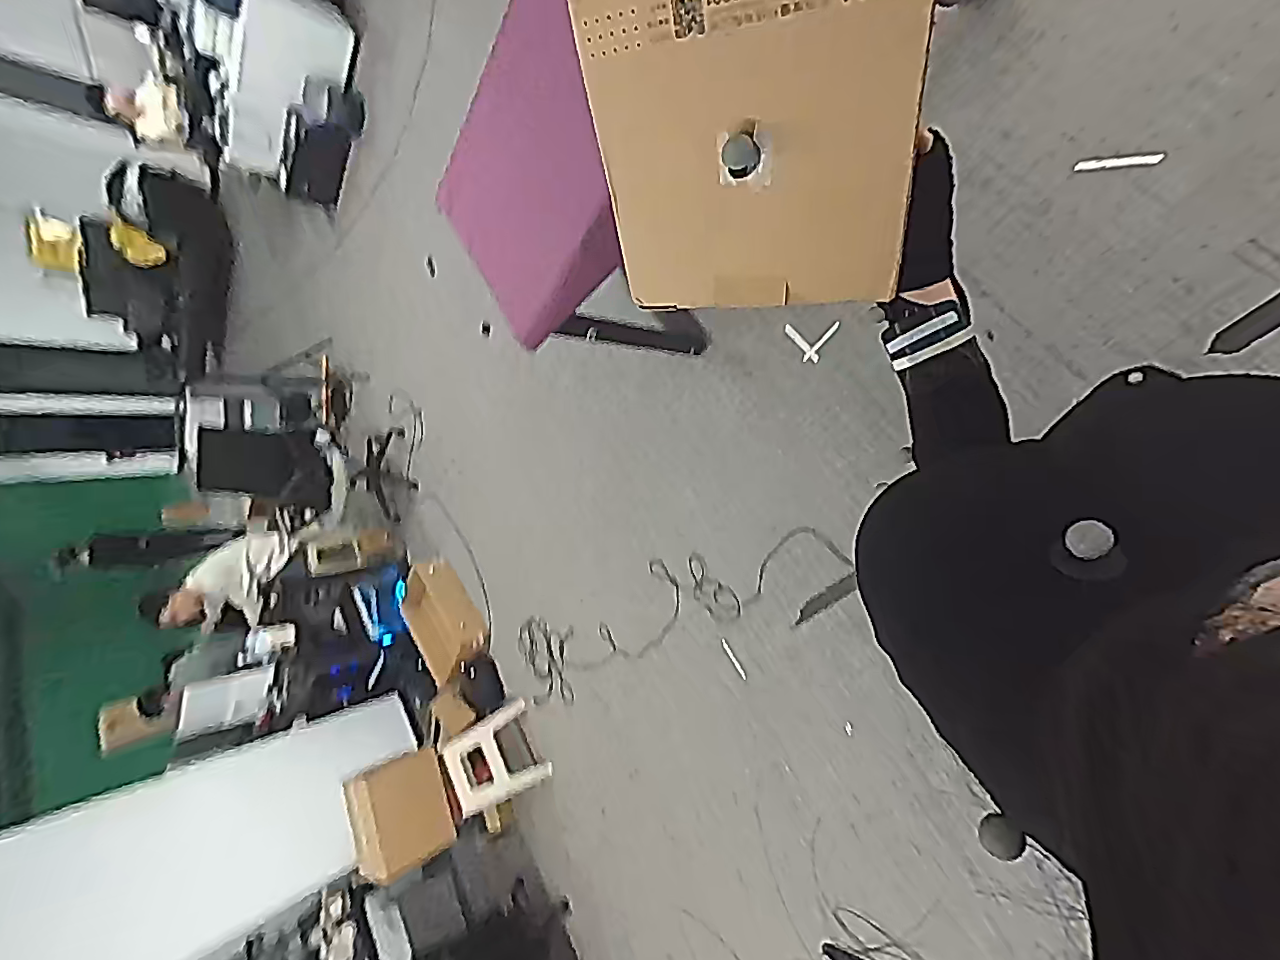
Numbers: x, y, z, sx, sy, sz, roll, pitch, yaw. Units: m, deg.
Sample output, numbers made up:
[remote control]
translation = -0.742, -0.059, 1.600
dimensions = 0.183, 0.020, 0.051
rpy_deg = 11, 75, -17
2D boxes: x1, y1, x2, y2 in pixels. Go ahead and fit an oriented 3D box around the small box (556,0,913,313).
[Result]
[small box]
translation = 0.072, -0.223, 0.331
dimensions = 0.168, 0.179, 0.176
rpy_deg = 6, 136, 23
